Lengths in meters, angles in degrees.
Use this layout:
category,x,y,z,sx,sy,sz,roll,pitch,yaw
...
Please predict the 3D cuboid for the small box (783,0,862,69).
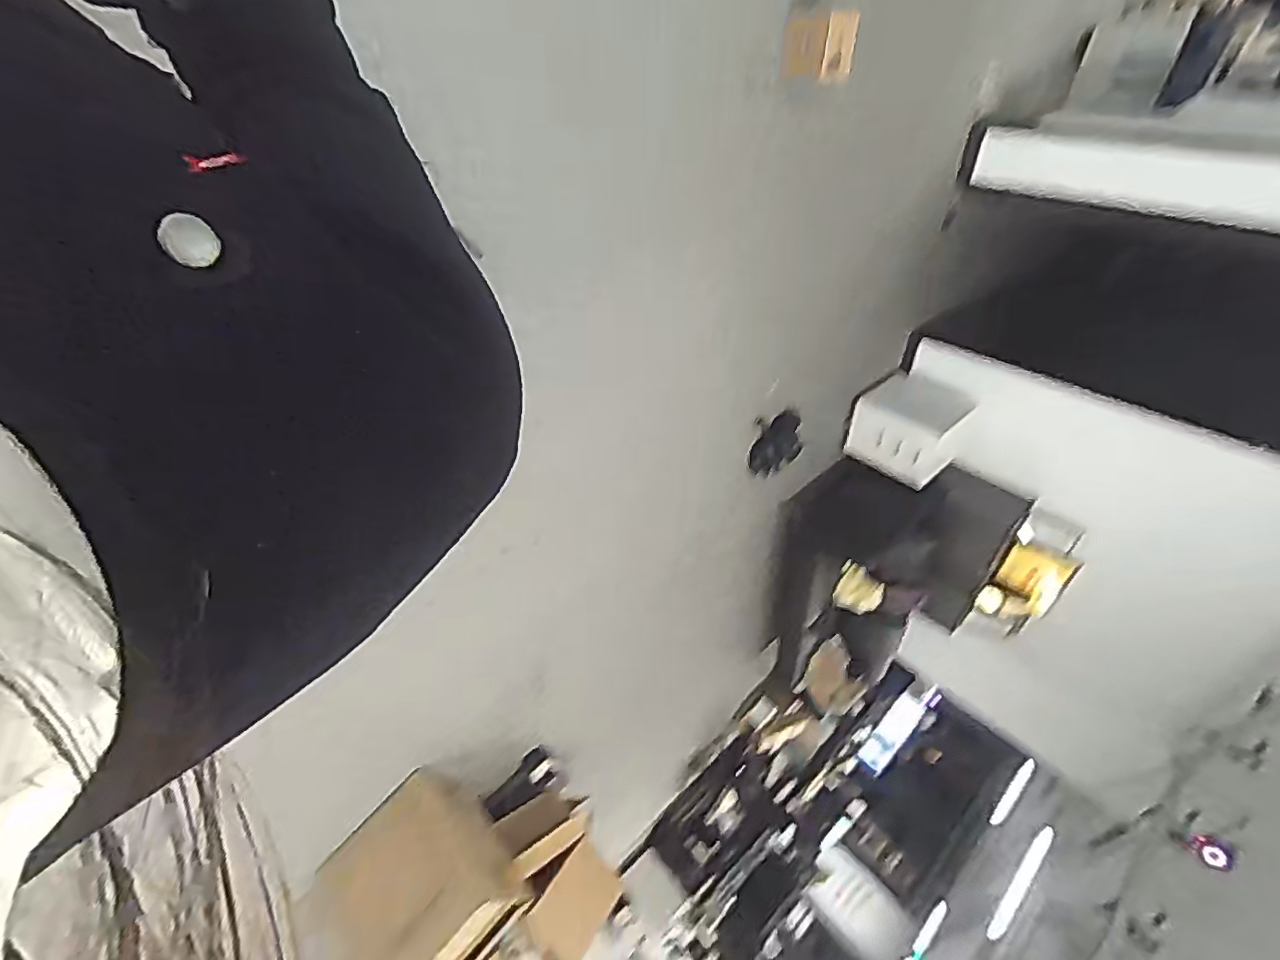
category,x,y,z,sx,sy,sz,roll,pitch,yaw
small box,0.587,-1.455,1.761,0.168,0.176,0.179,-29,135,-31
